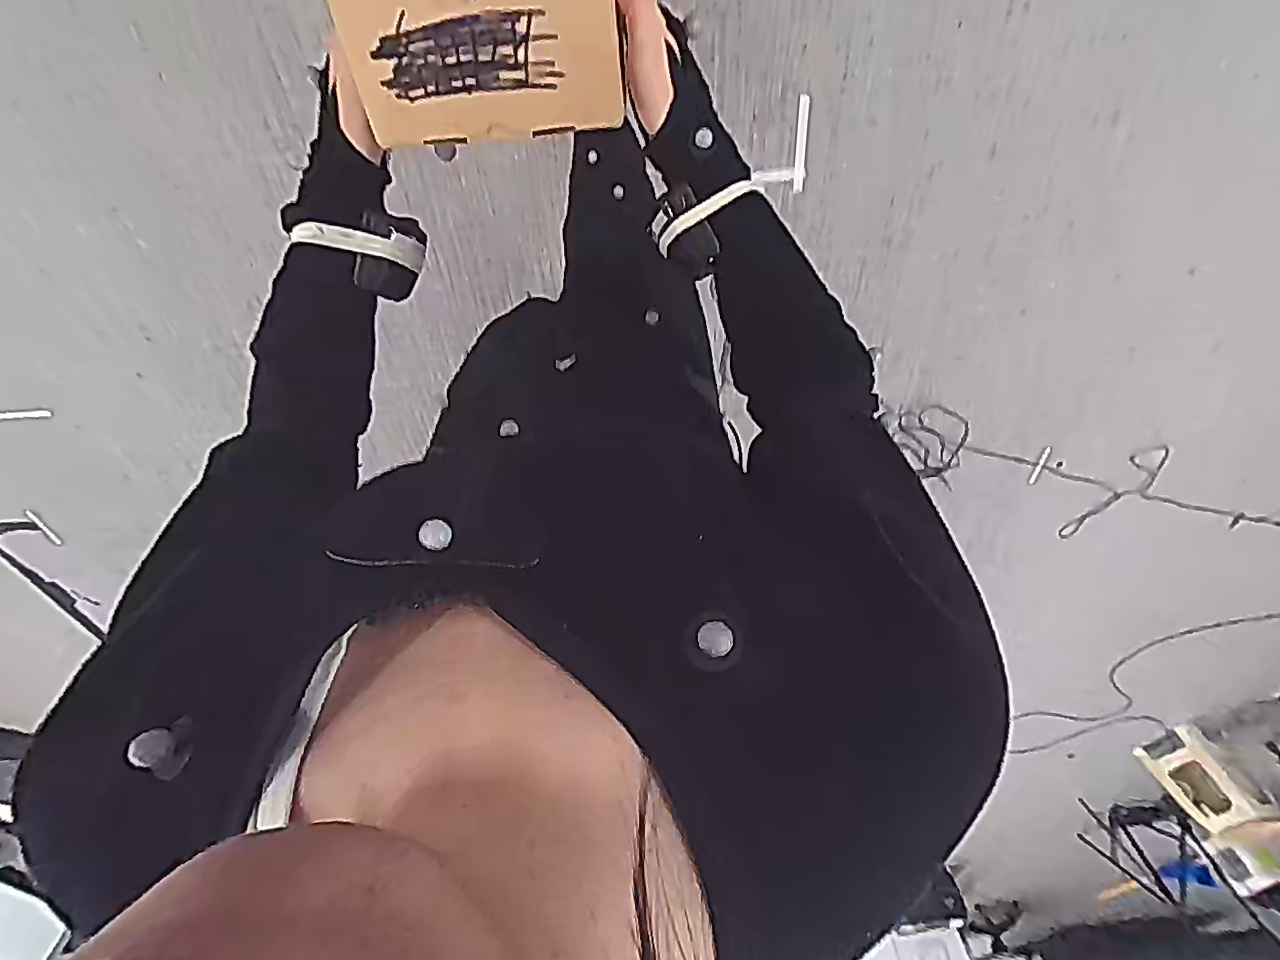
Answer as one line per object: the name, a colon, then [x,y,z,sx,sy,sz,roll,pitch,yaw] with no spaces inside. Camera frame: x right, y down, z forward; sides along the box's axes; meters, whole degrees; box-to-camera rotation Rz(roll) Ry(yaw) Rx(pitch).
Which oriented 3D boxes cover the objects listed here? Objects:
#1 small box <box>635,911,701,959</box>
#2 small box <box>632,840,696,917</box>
small box: [0.077,1.267,1.435,0.168,0.176,0.179,-5,129,0]
small box: [0.065,1.160,1.559,0.168,0.176,0.179,-3,130,-2]
